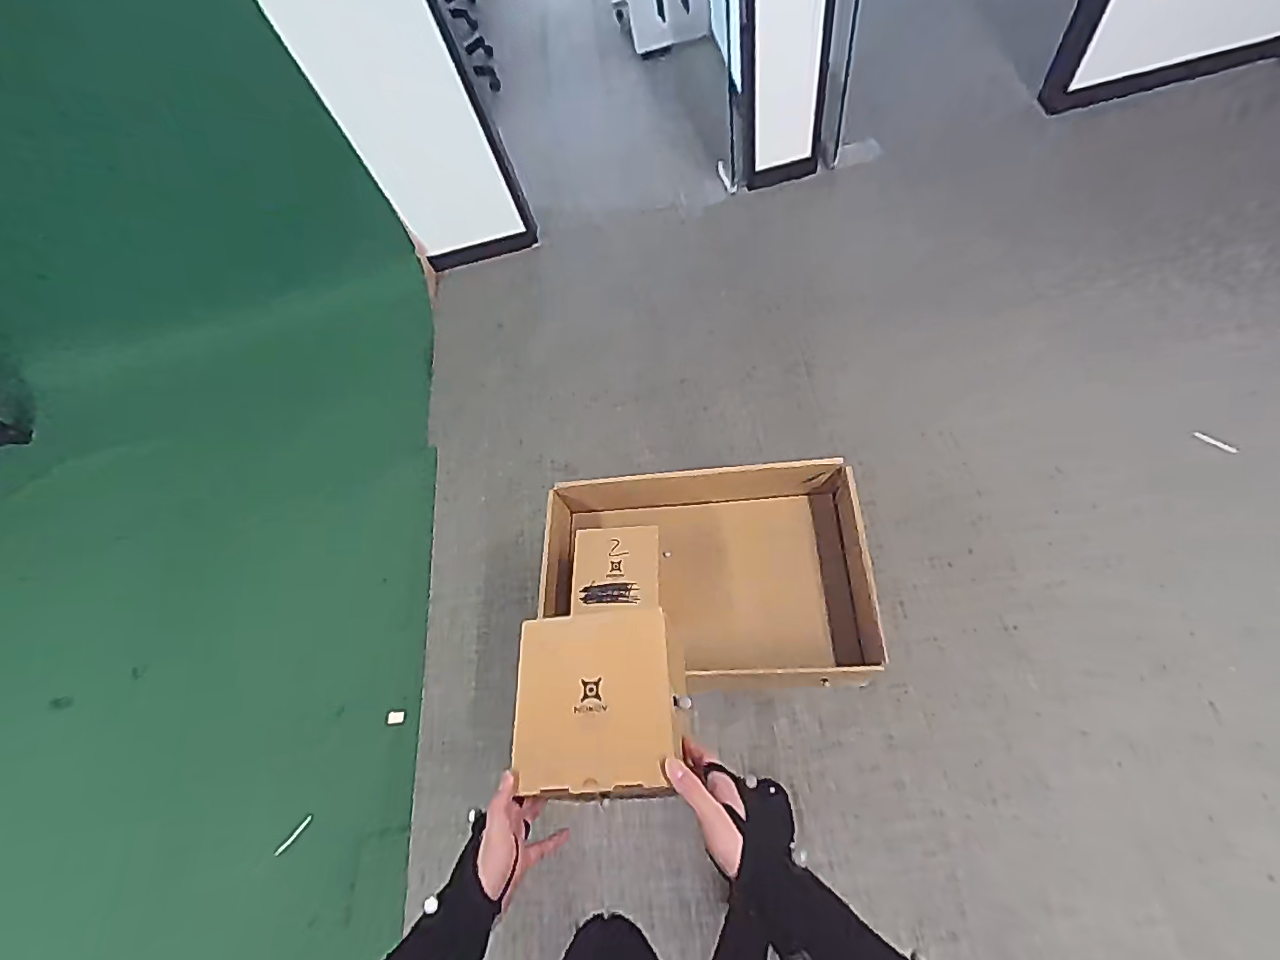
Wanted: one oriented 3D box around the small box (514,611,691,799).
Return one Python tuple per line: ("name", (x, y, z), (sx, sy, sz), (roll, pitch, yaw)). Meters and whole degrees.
("small box", (-0.033, 0.267, 0.628), (0.168, 0.176, 0.179), (-7, 60, 7))
